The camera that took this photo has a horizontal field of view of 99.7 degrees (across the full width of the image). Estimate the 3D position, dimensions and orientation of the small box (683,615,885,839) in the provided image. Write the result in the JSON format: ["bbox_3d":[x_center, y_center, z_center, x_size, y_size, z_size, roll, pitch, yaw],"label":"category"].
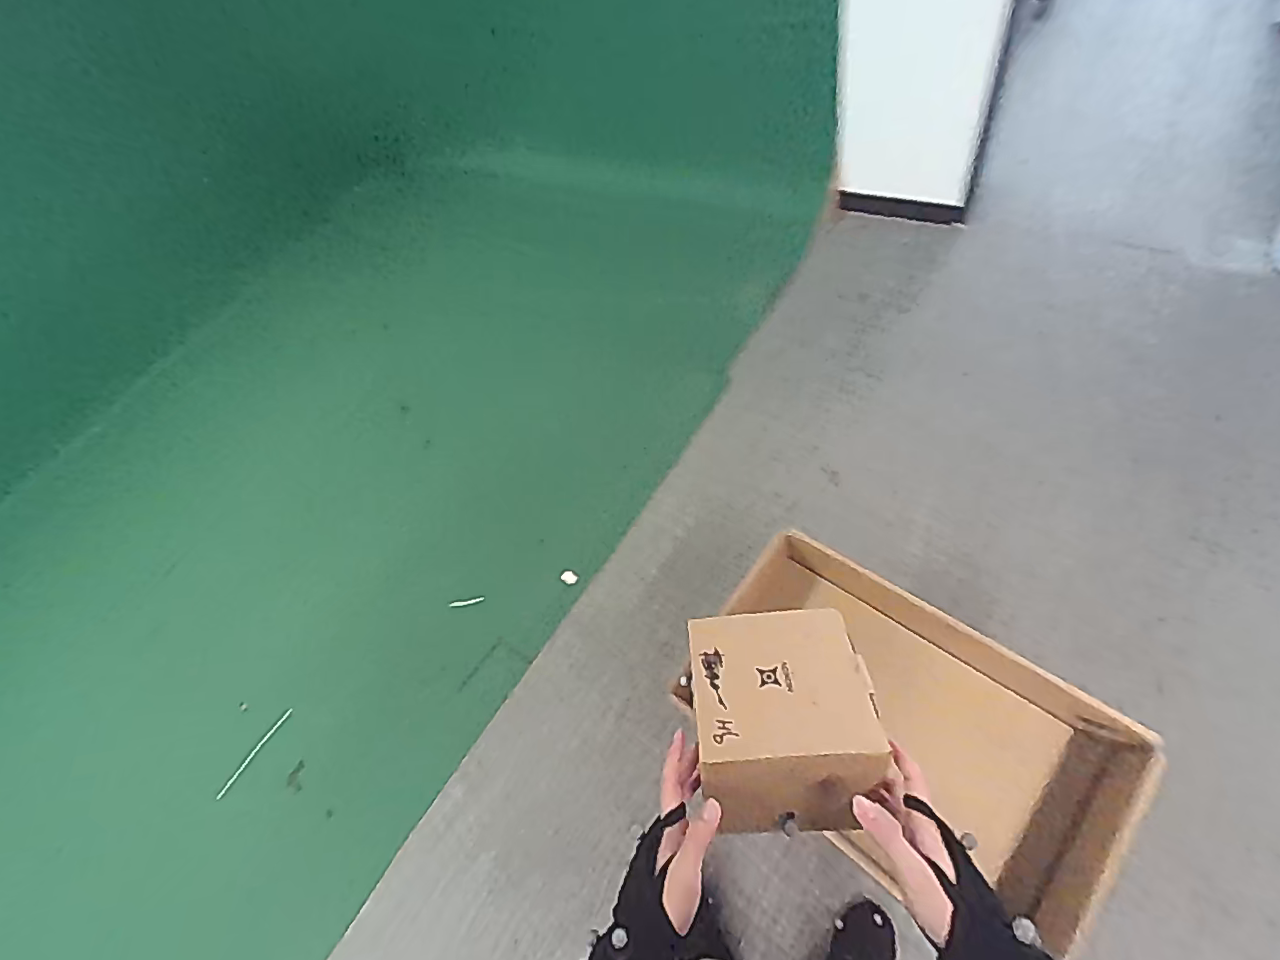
[{"bbox_3d":[0.140,0.271,0.596,0.179,0.176,0.168,-4,36,3],"label":"small box"}]
